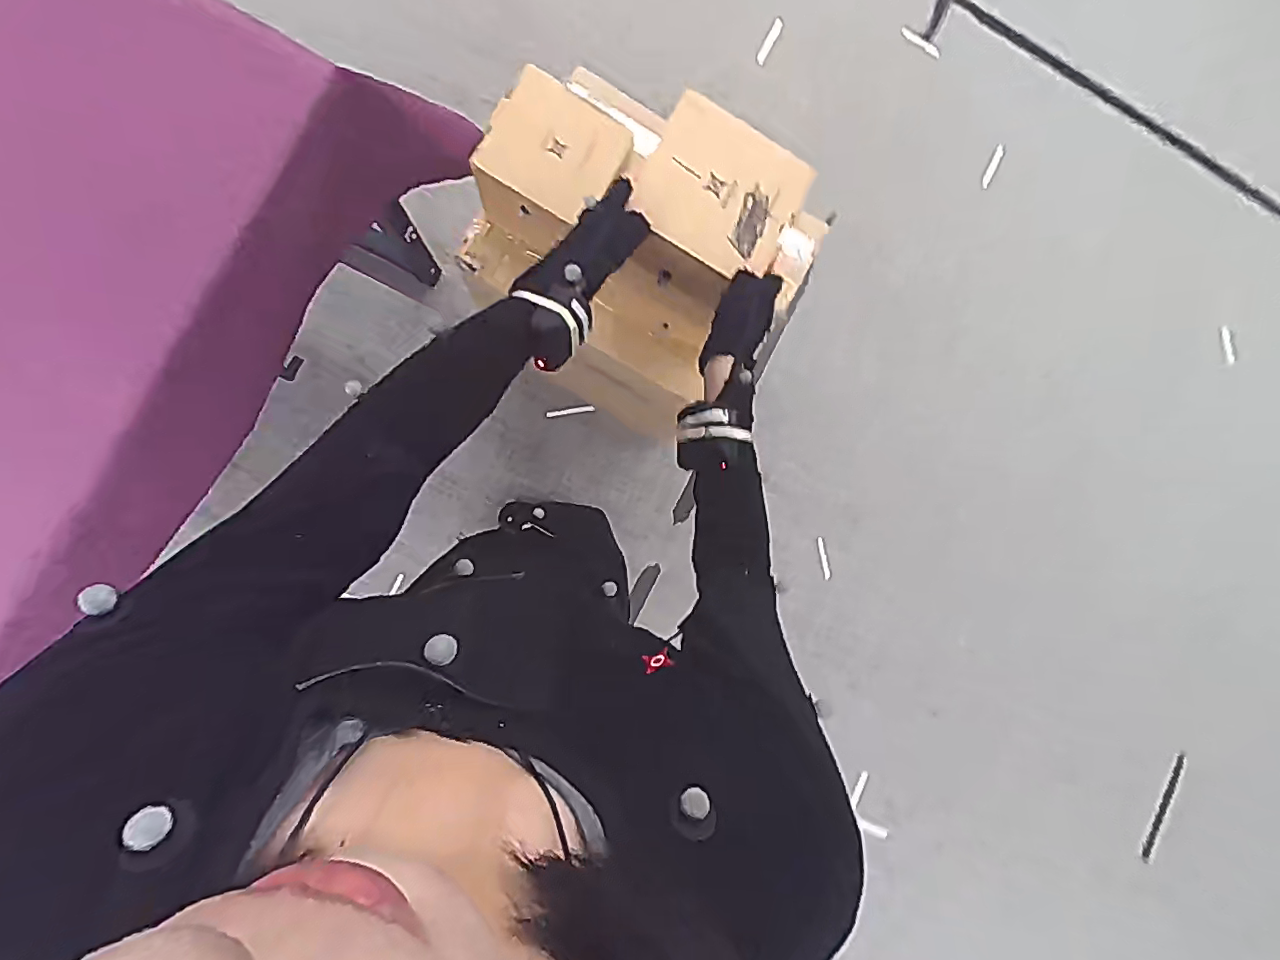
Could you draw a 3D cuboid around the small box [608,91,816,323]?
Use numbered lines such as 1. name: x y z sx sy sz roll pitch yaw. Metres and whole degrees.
1. small box: 0.078 -0.318 0.678 0.179 0.176 0.168 29 85 -8
